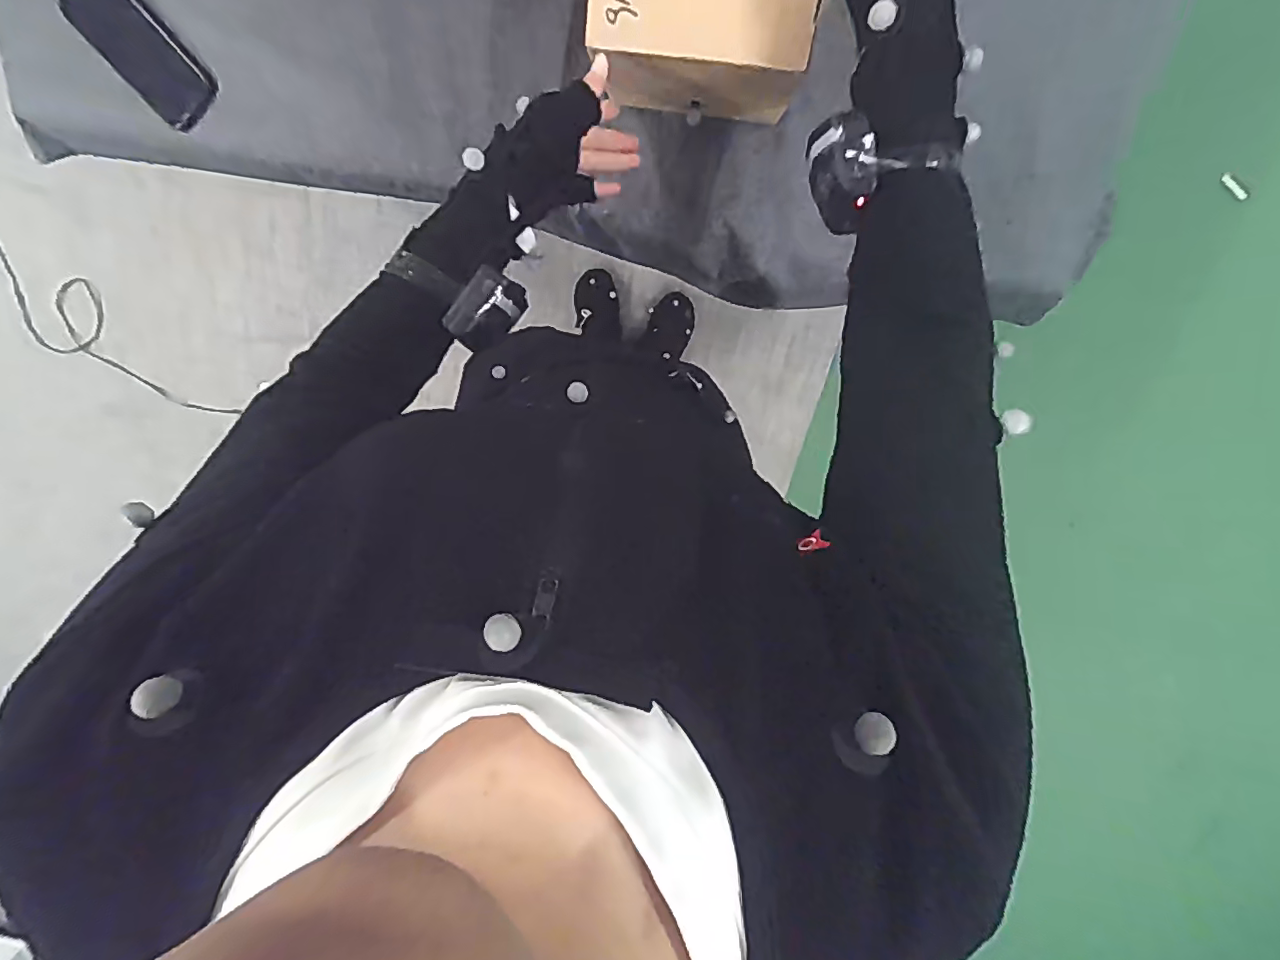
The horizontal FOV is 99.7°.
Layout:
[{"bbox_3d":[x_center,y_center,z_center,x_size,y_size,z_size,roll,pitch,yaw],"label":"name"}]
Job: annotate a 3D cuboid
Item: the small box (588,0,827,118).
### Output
[{"bbox_3d":[0.062,-0.427,0.458,0.179,0.176,0.168,9,112,2],"label":"small box"}]
